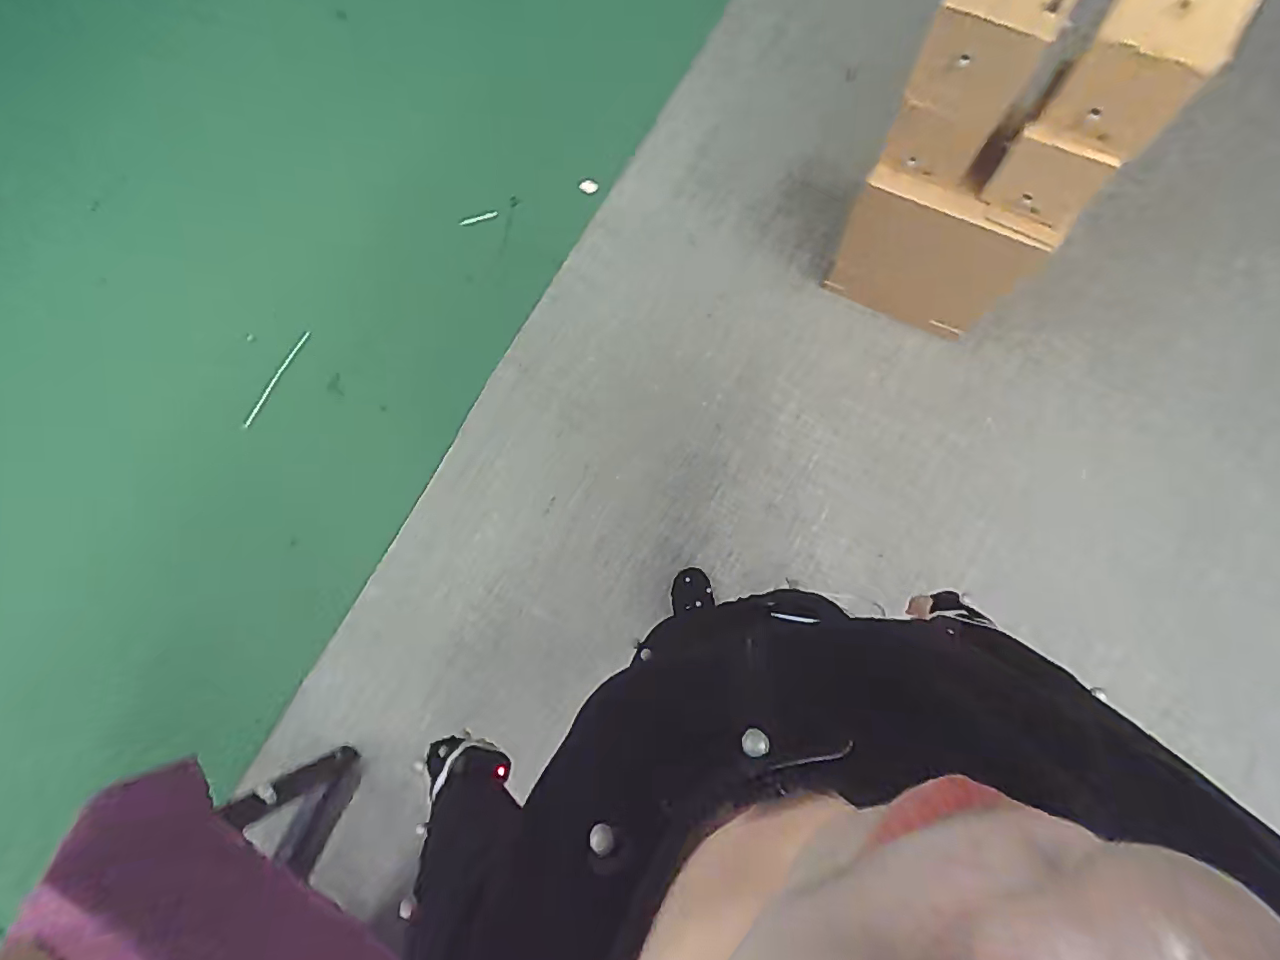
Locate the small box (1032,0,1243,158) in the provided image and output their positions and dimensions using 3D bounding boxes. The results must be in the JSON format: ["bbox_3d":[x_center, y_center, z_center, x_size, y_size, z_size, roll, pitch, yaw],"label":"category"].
[{"bbox_3d":[0.793,-0.679,0.881,0.168,0.176,0.179,31,85,12],"label":"small box"}]
